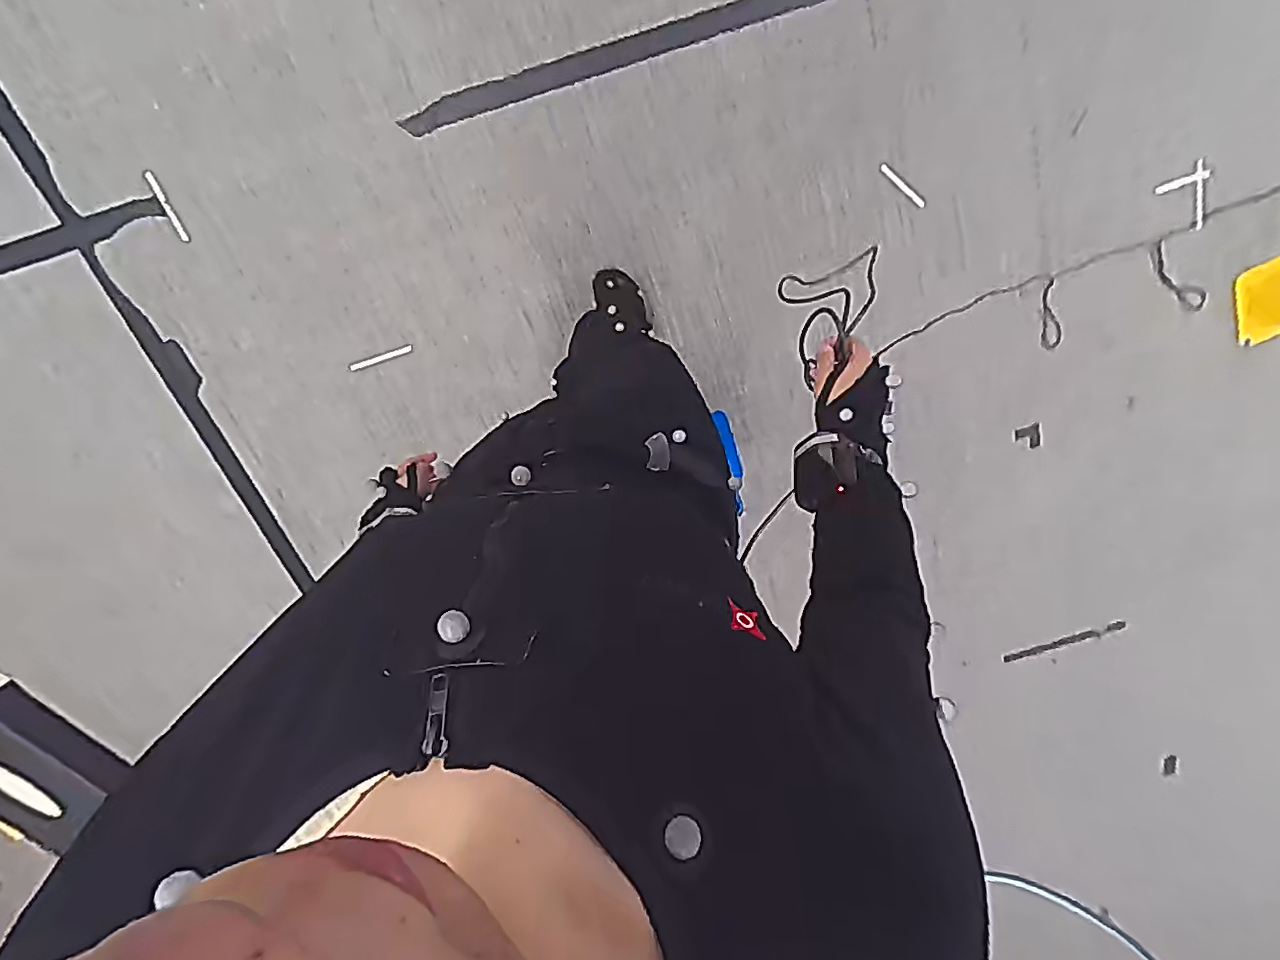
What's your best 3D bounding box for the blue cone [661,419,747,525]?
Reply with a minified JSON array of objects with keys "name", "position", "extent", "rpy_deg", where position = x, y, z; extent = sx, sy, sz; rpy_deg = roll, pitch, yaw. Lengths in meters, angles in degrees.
[{"name":"blue cone","position":[0.173,0.002,1.231],"extent":[0.193,0.380,0.192],"rpy_deg":[-18,110,1]}]
